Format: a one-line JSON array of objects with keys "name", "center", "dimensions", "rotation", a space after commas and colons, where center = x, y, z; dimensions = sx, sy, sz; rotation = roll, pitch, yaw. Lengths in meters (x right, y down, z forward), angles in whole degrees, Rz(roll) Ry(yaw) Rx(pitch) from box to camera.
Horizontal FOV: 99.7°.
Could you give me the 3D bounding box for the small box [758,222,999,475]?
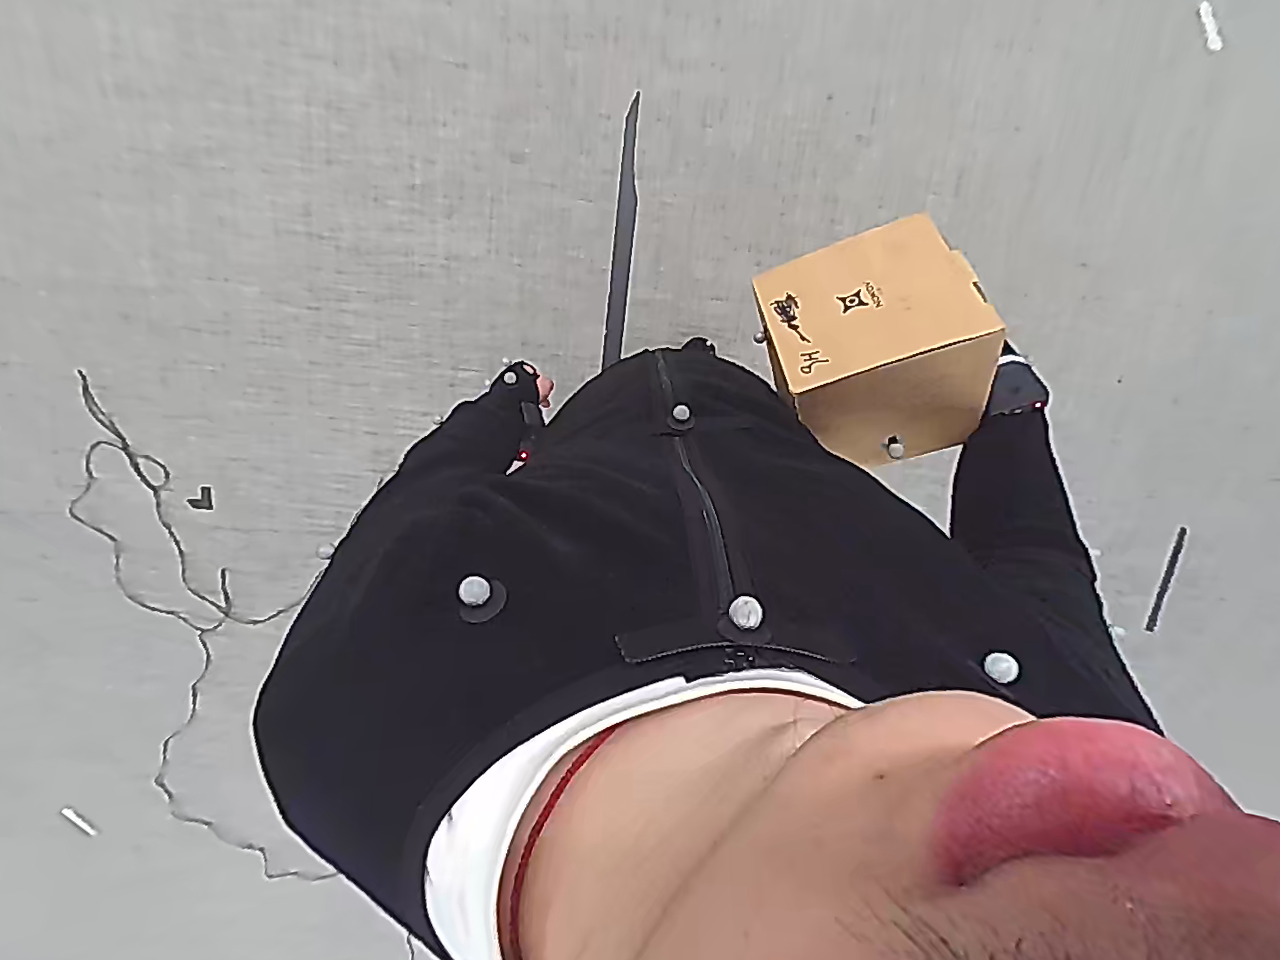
[{"name": "small box", "center": [0.240, -0.130, 0.581], "dimensions": [0.179, 0.168, 0.176], "rotation": [-16, 145, 13]}]
